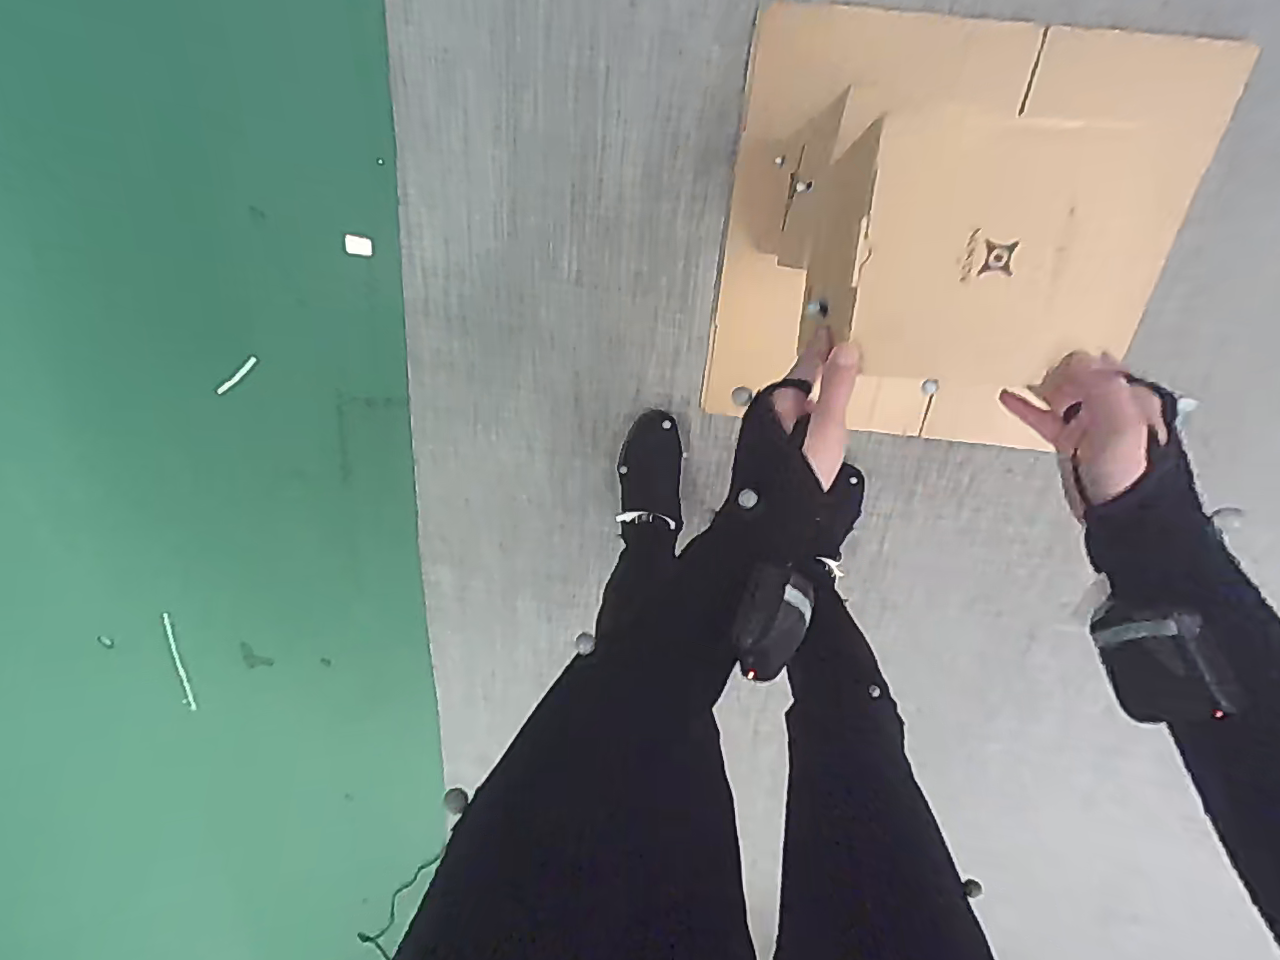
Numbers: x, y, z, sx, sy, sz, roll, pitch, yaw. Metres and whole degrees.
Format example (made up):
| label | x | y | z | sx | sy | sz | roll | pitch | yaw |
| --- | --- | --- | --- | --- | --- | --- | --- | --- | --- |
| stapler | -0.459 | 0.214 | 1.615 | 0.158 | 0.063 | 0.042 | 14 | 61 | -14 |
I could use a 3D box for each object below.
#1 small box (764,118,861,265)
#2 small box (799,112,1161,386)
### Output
| label | x | y | z | sx | sy | sz | roll | pitch | yaw |
| --- | --- | --- | --- | --- | --- | --- | --- | --- | --- |
| small box | 0.290 | -0.397 | 0.783 | 0.179 | 0.176 | 0.168 | 10 | 114 | 0 |
| small box | 0.237 | -0.174 | 0.437 | 0.179 | 0.176 | 0.168 | 4 | 109 | 4 |
